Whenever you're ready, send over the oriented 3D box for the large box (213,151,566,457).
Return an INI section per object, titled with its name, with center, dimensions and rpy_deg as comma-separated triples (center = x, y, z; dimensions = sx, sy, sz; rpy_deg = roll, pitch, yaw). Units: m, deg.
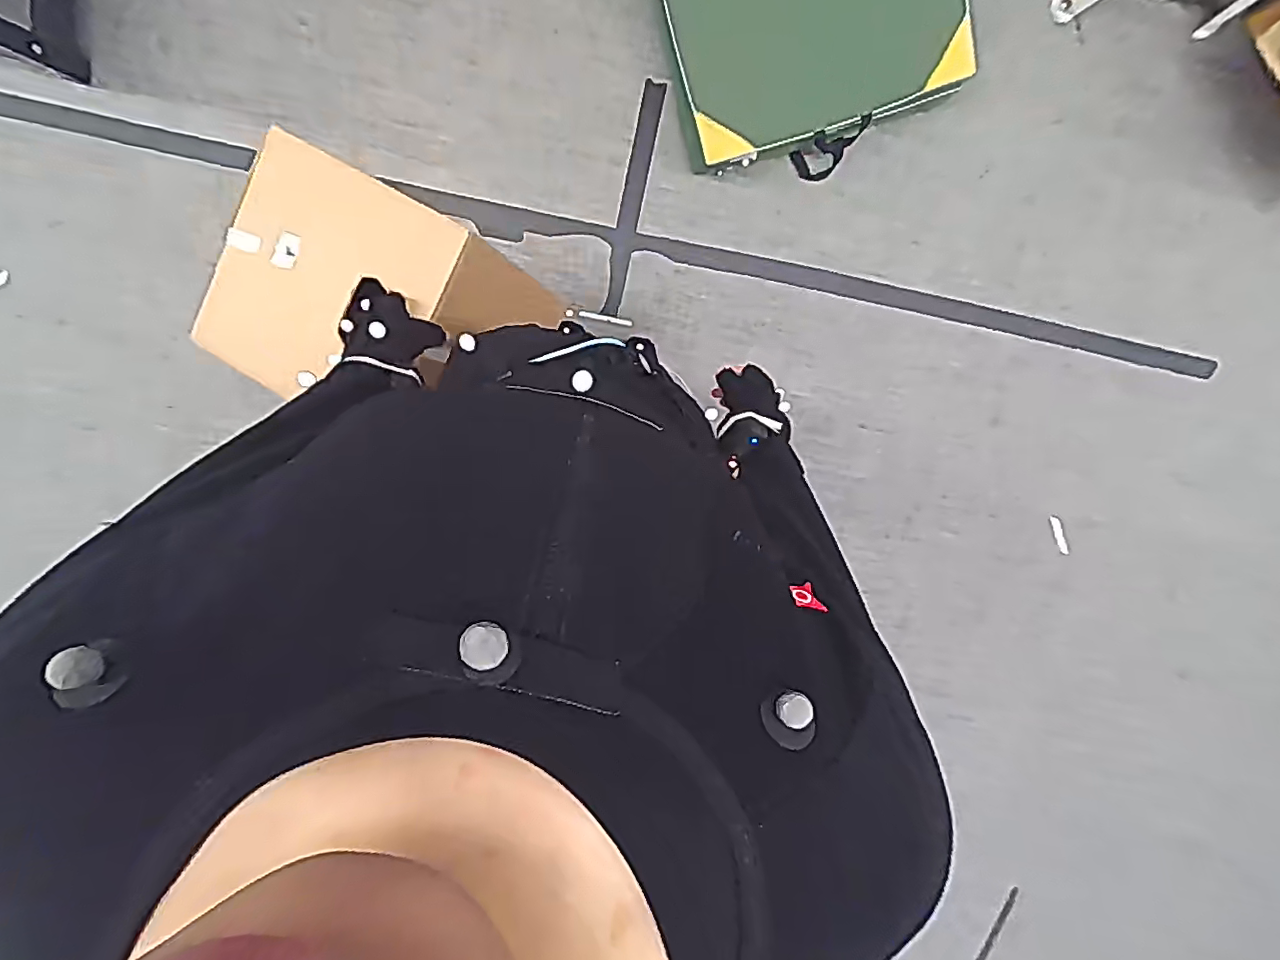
[large box]
center = -0.377, -0.256, 0.909
dimensions = 0.320, 0.408, 0.320
rpy_deg = 30, 99, 5
